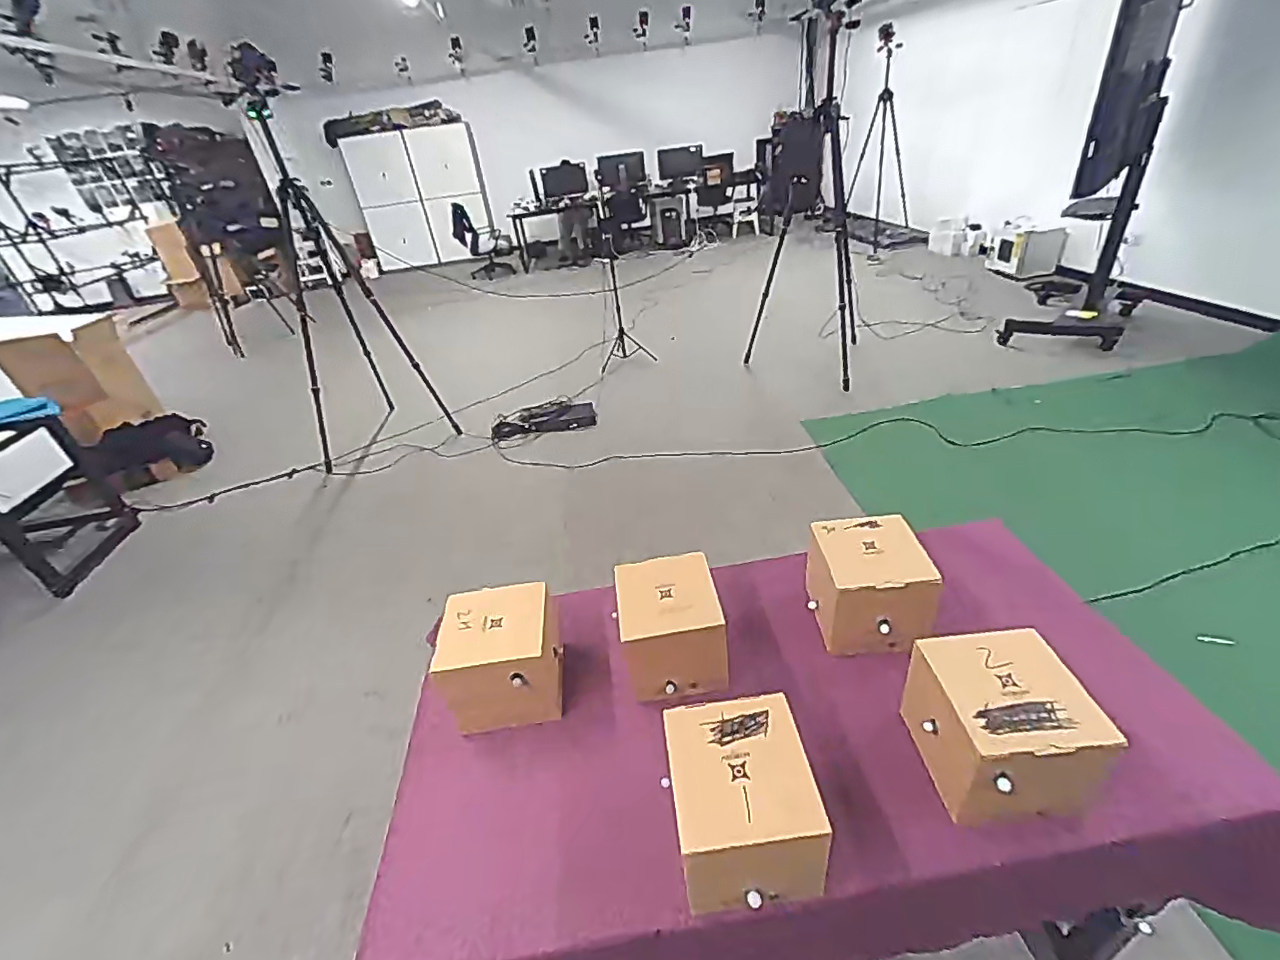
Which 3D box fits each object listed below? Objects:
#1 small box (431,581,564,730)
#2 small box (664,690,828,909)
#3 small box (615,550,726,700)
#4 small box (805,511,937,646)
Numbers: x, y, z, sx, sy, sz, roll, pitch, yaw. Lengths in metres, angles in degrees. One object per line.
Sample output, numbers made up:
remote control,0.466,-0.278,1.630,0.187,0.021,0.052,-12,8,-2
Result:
small box,-0.232,0.303,0.933,0.179,0.176,0.168,-9,33,-1
small box,0.126,0.405,0.693,0.168,0.176,0.179,-9,33,0
small box,0.051,0.251,0.947,0.168,0.176,0.179,-10,34,0
small box,0.400,0.179,0.967,0.168,0.176,0.179,-6,34,4
